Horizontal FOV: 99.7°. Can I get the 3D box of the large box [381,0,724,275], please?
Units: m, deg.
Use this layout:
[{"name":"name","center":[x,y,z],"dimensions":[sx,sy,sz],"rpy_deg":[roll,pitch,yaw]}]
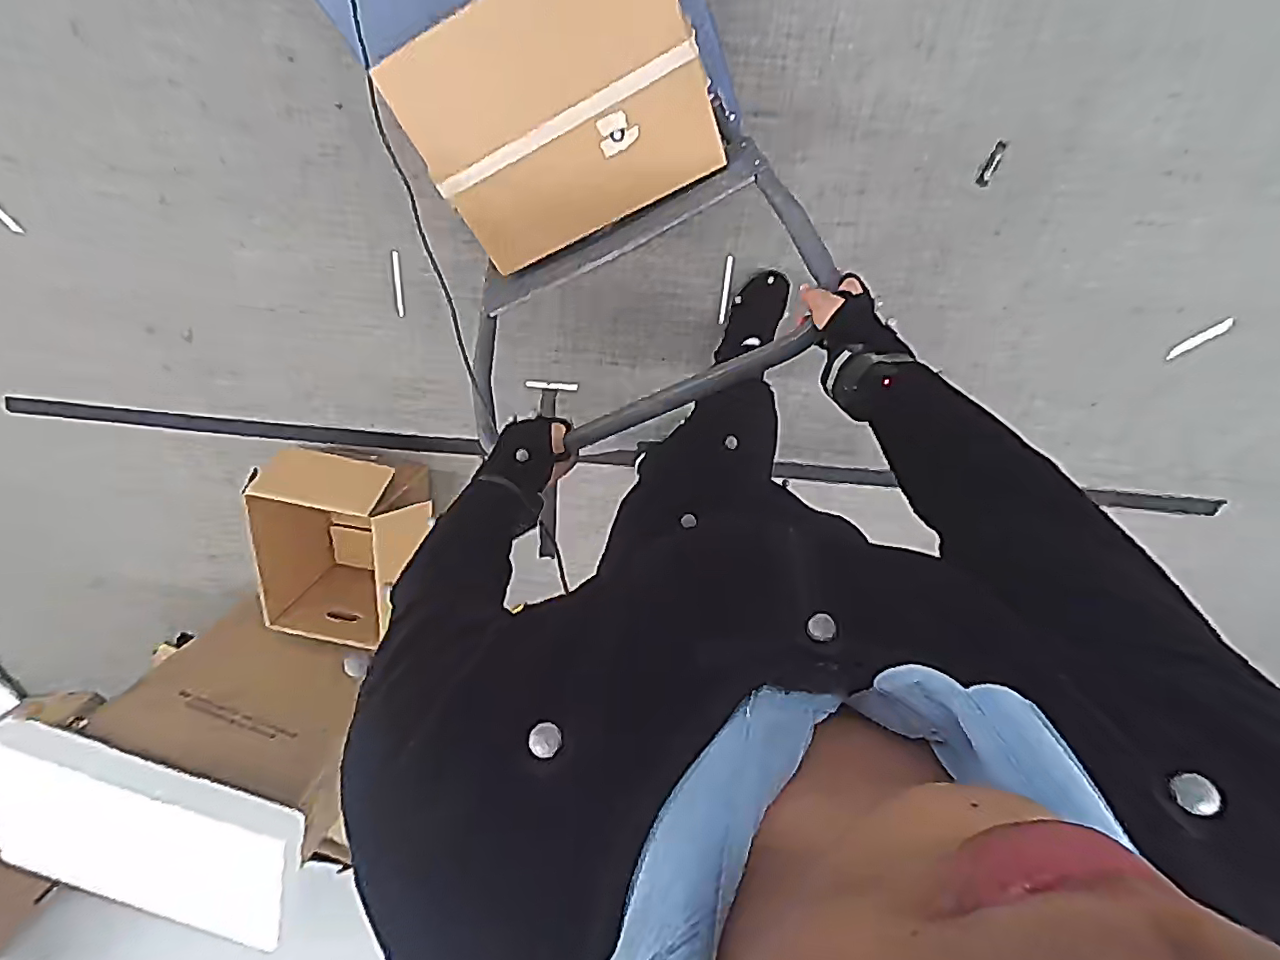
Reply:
[{"name":"large box","center":[-0.126,-0.616,0.881],"dimensions":[0.408,0.320,0.320],"rpy_deg":[-22,134,13]}]
